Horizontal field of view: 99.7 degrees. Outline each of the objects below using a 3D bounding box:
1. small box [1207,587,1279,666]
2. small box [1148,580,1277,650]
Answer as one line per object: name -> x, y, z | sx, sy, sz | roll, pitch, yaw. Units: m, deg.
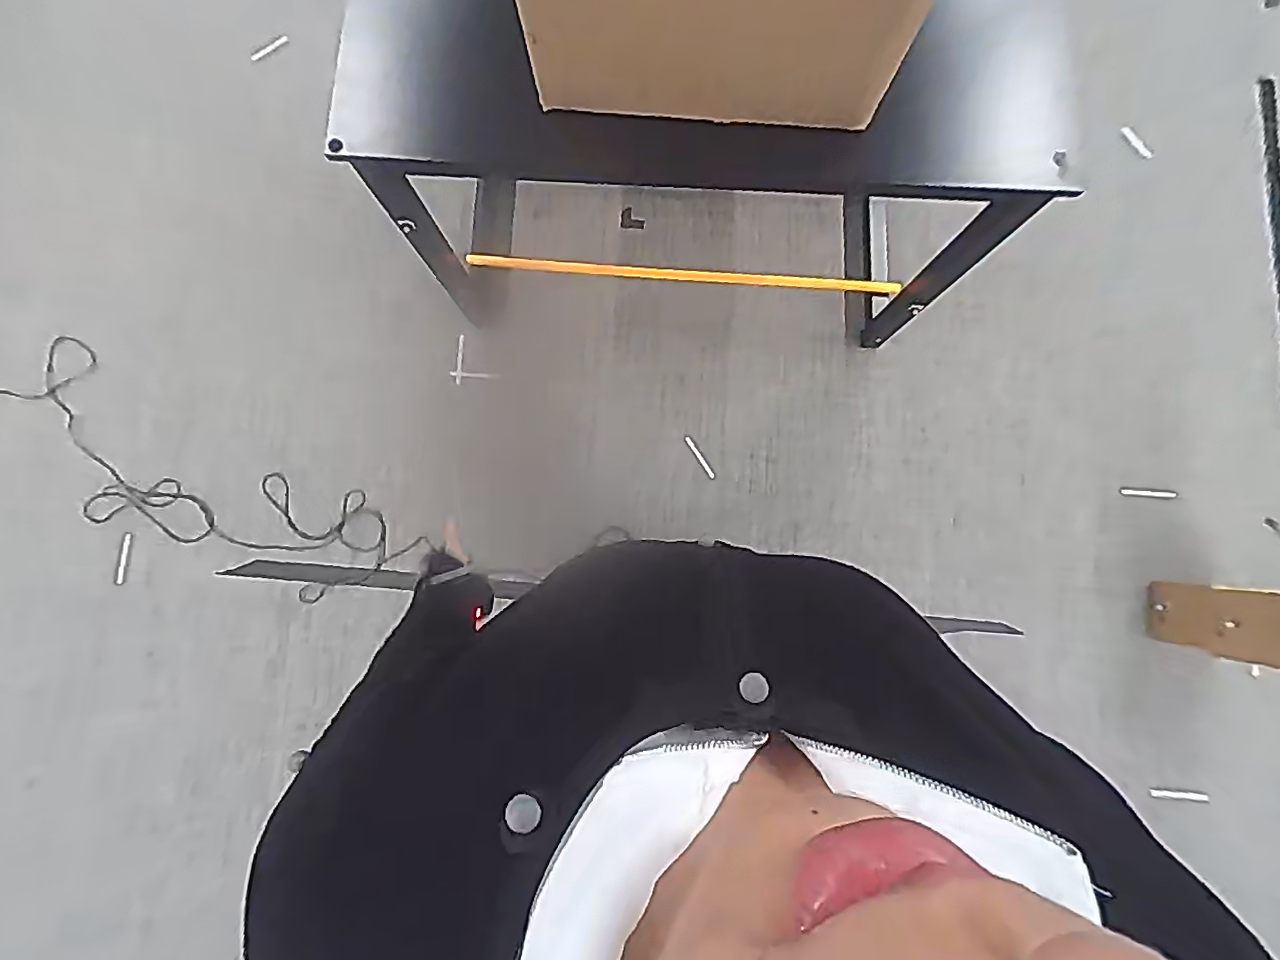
small box -> 1.479, 0.338, 1.244 | 0.179, 0.176, 0.168 | 4, 82, 1
small box -> 1.488, 0.351, 1.409 | 0.179, 0.176, 0.168 | 3, 82, 2
